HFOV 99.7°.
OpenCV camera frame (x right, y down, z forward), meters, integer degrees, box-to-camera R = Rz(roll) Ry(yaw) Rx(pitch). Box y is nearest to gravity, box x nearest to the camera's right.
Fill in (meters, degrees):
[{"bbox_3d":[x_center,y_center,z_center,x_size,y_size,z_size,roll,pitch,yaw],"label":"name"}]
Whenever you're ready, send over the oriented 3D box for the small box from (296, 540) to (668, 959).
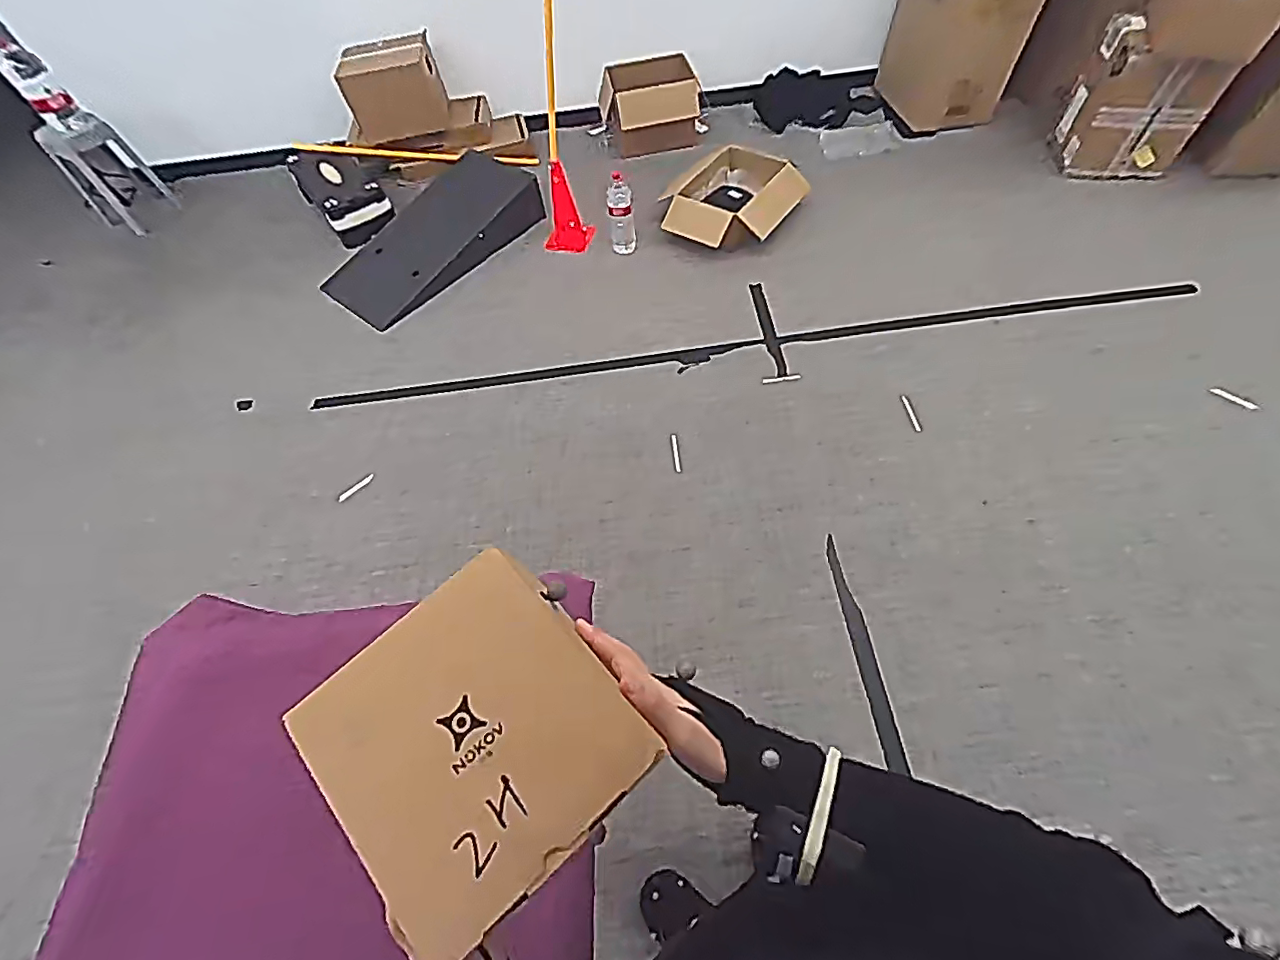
[{"bbox_3d":[-0.096,0.179,0.401,0.168,0.176,0.179,-41,71,-12],"label":"small box"}]
